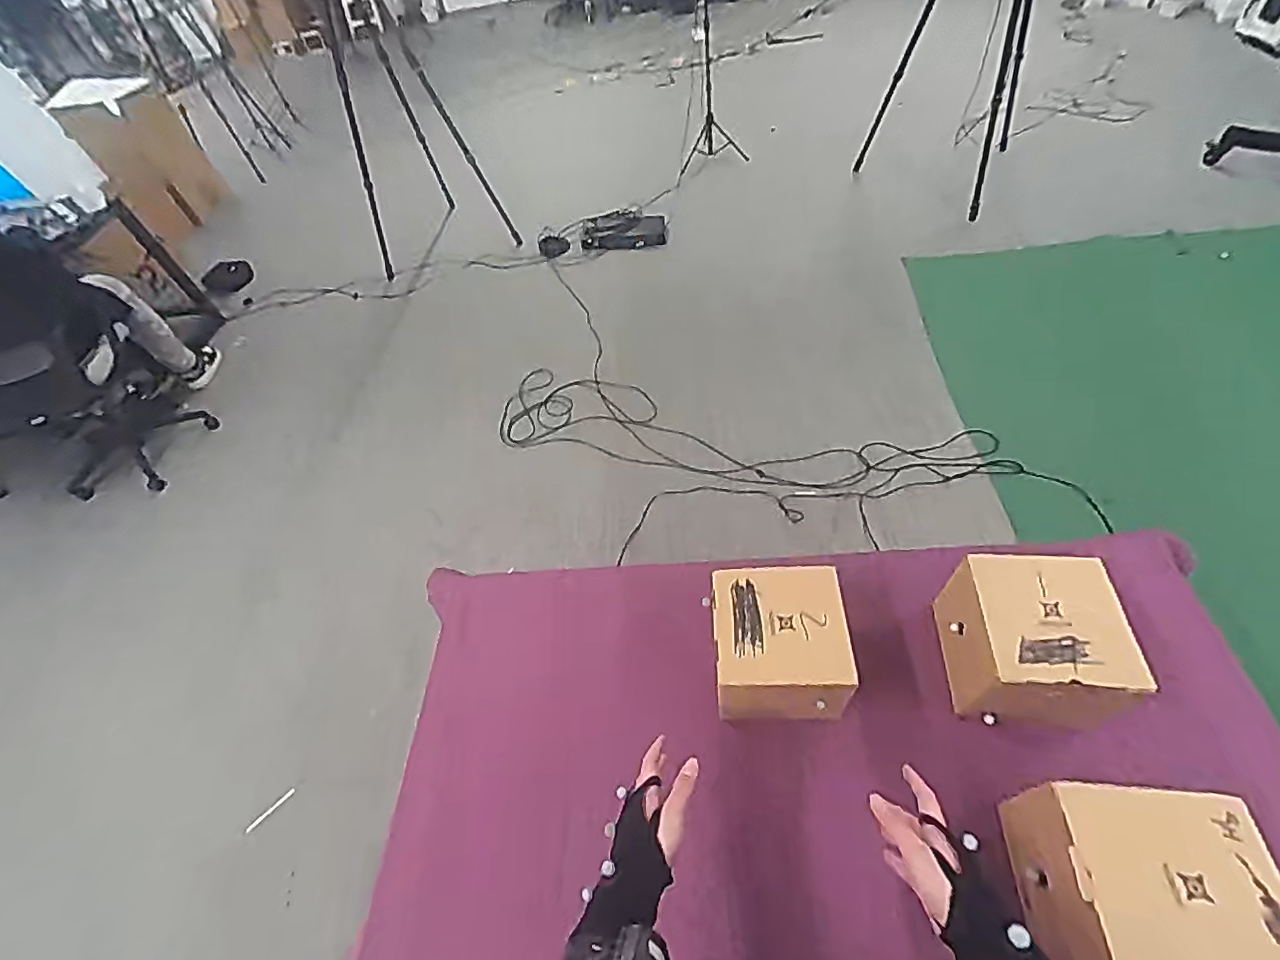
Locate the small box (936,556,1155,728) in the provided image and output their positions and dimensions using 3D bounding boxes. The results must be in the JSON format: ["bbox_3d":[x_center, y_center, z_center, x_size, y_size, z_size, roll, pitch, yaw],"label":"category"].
[{"bbox_3d":[0.527,0.223,0.738,0.168,0.176,0.179,1,52,11],"label":"small box"}]

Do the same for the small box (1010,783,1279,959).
[{"bbox_3d":[0.524,0.436,0.569,0.179,0.176,0.168,0,51,11],"label":"small box"}]
